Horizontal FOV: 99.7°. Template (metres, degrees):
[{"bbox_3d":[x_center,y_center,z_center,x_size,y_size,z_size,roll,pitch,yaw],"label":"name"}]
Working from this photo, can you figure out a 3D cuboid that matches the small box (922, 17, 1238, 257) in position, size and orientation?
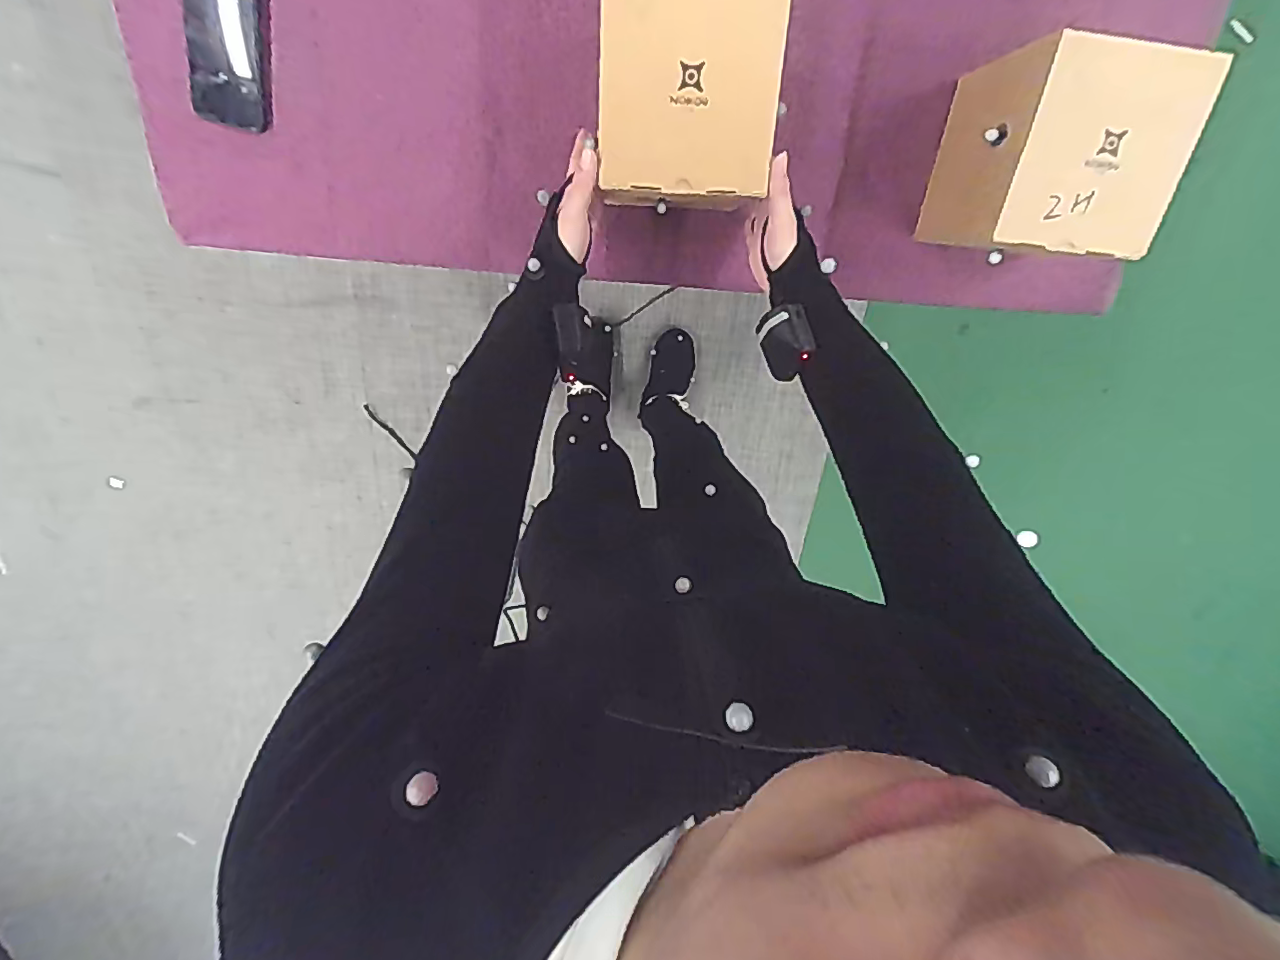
[{"bbox_3d":[0.435,-0.343,0.576,0.168,0.176,0.179,6,114,-3],"label":"small box"}]

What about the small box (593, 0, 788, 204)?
[{"bbox_3d":[0.038,-0.387,0.548,0.168,0.176,0.179,1,114,-3],"label":"small box"}]
